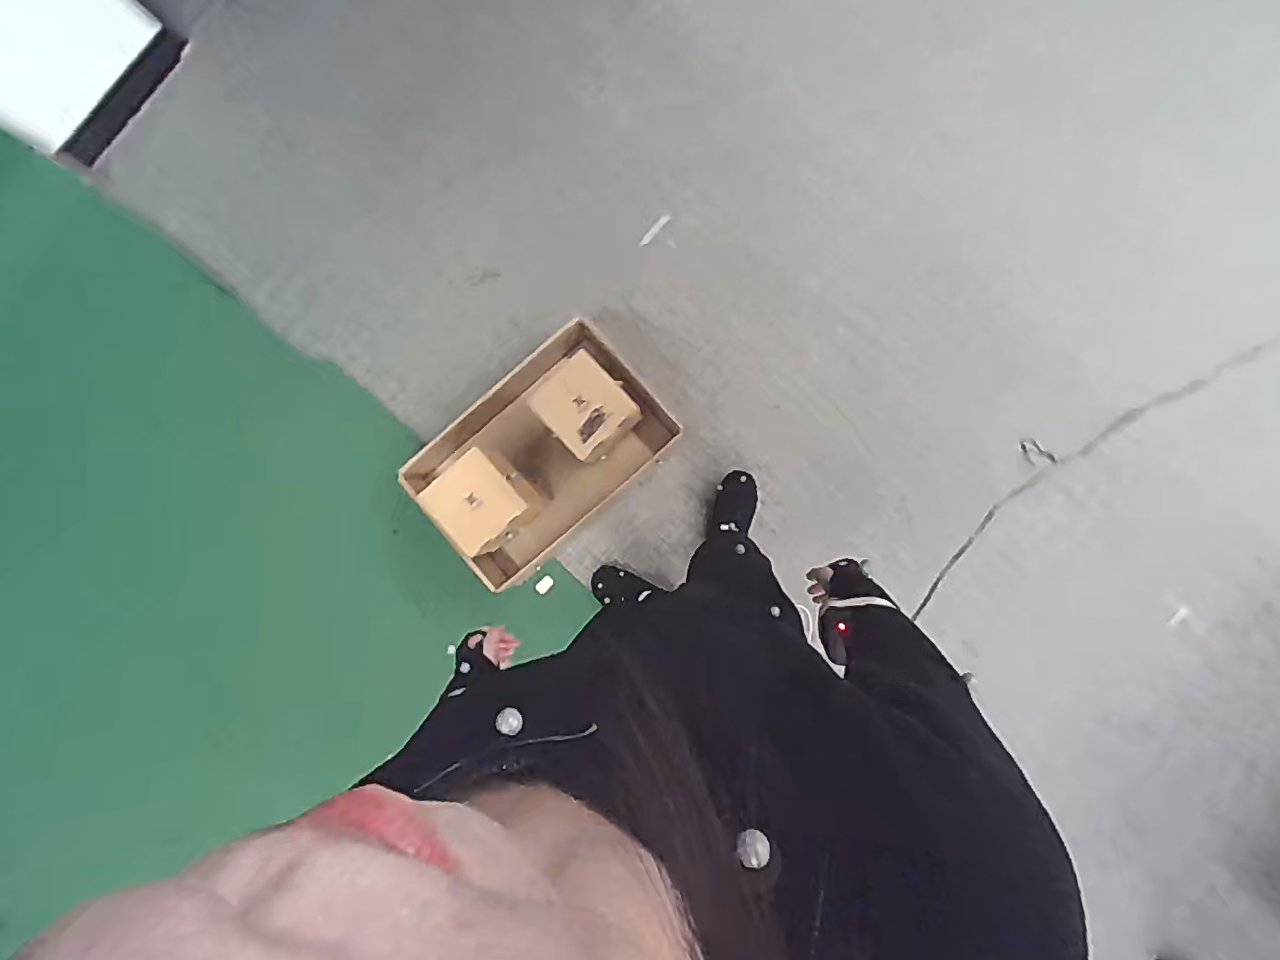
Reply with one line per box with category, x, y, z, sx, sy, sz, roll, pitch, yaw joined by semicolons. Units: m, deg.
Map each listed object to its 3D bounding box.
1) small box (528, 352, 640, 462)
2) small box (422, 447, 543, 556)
small box;-0.115;-0.154;1.210;0.168;0.176;0.179;-44;86;1
small box;-0.345;0.050;1.218;0.168;0.176;0.179;-41;88;0
